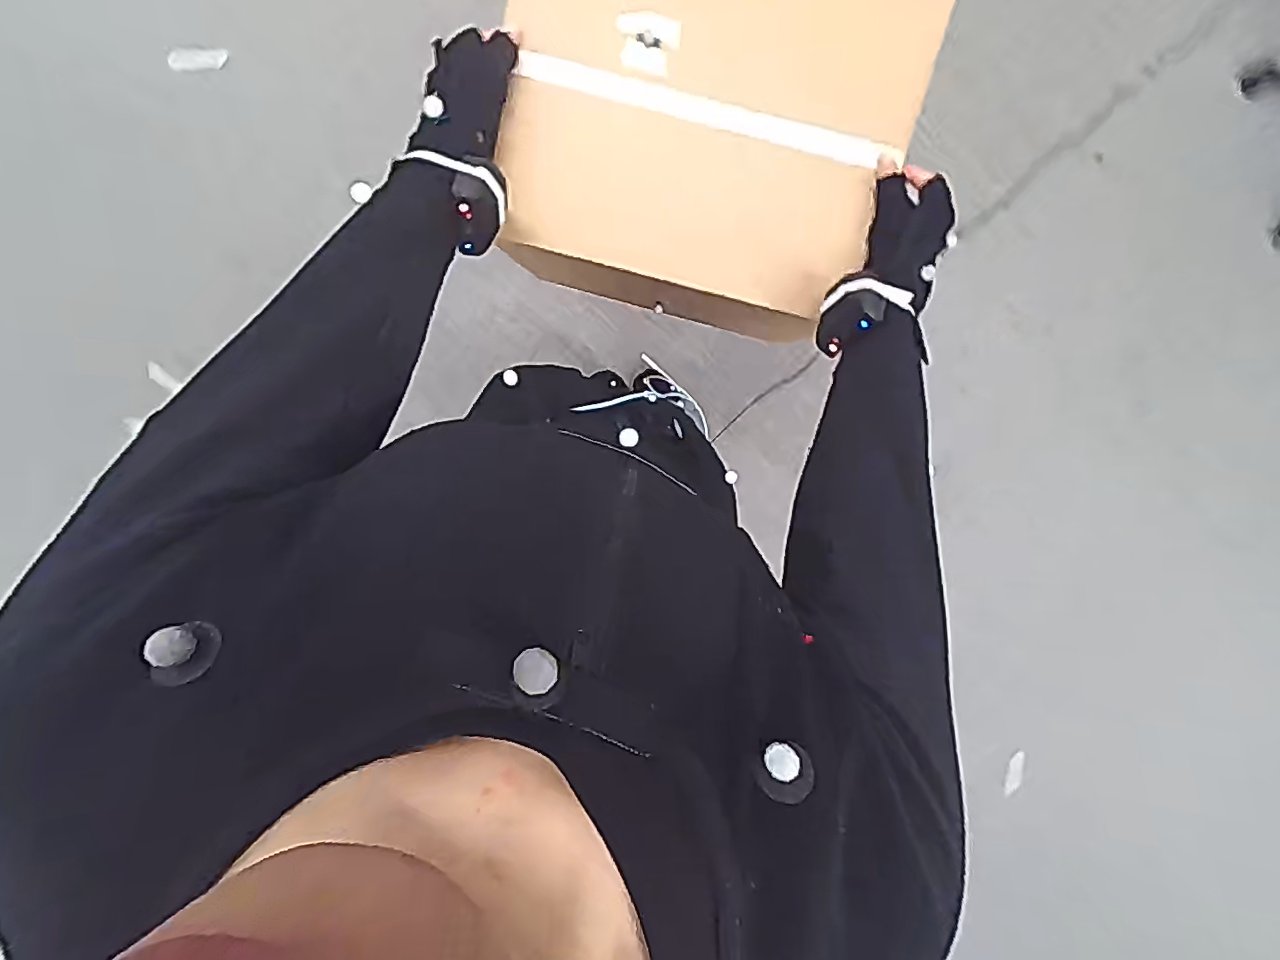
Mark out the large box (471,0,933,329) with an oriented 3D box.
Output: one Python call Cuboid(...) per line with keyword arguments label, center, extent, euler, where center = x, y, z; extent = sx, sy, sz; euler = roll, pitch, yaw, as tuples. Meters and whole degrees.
Cuboid(label="large box", center=(0.058, -0.392, 0.676), extent=(0.408, 0.320, 0.320), euler=(14, 101, -1))
